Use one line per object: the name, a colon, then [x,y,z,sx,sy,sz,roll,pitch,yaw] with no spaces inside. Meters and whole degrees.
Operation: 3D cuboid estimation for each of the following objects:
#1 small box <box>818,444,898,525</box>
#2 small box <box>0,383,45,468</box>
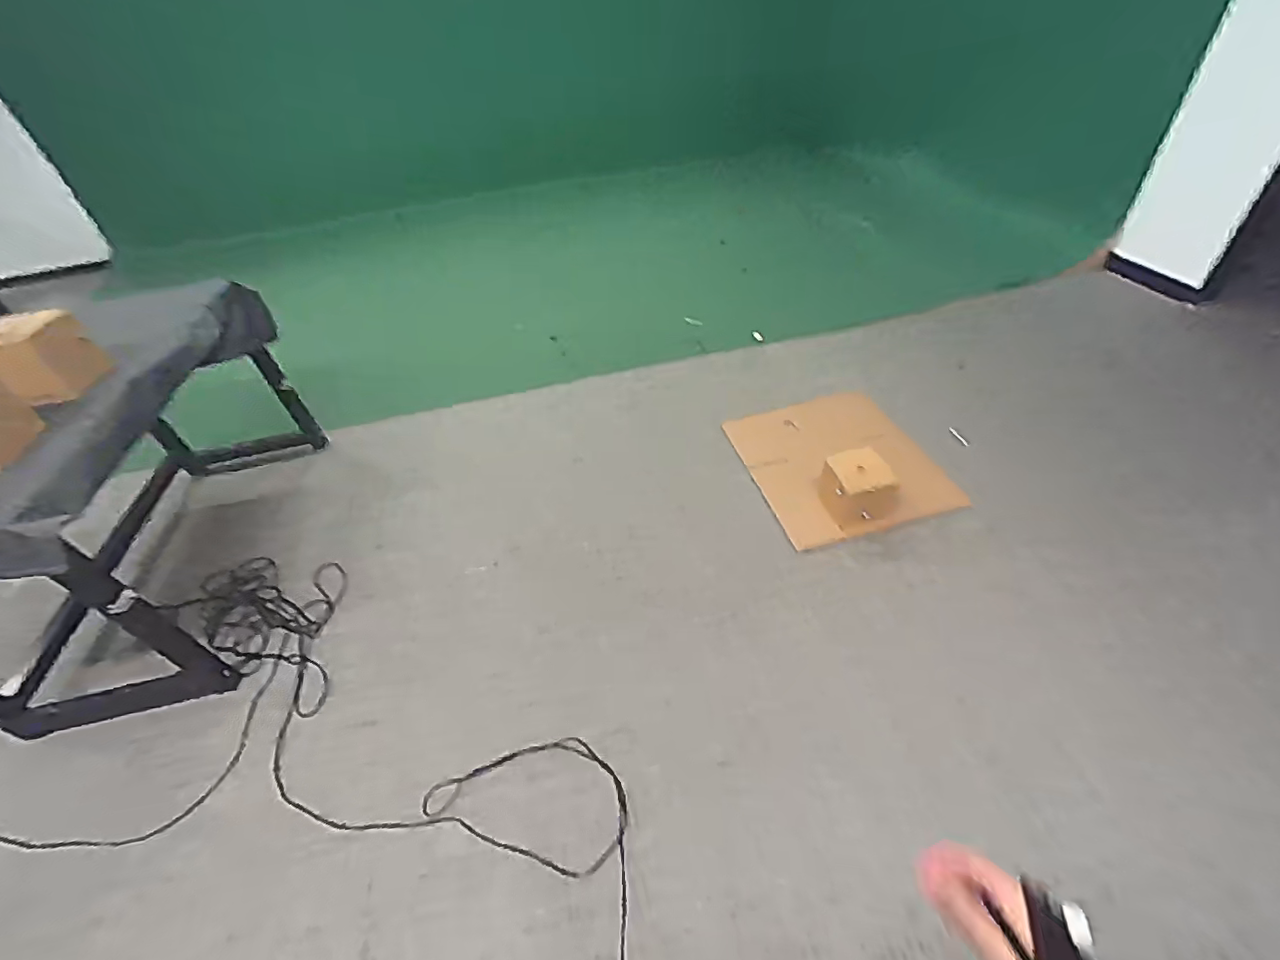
small box: [0.684,0.016,1.724,0.168,0.176,0.179,-13,45,-5]
small box: [-1.475,-0.119,1.167,0.168,0.176,0.179,-12,43,-5]
